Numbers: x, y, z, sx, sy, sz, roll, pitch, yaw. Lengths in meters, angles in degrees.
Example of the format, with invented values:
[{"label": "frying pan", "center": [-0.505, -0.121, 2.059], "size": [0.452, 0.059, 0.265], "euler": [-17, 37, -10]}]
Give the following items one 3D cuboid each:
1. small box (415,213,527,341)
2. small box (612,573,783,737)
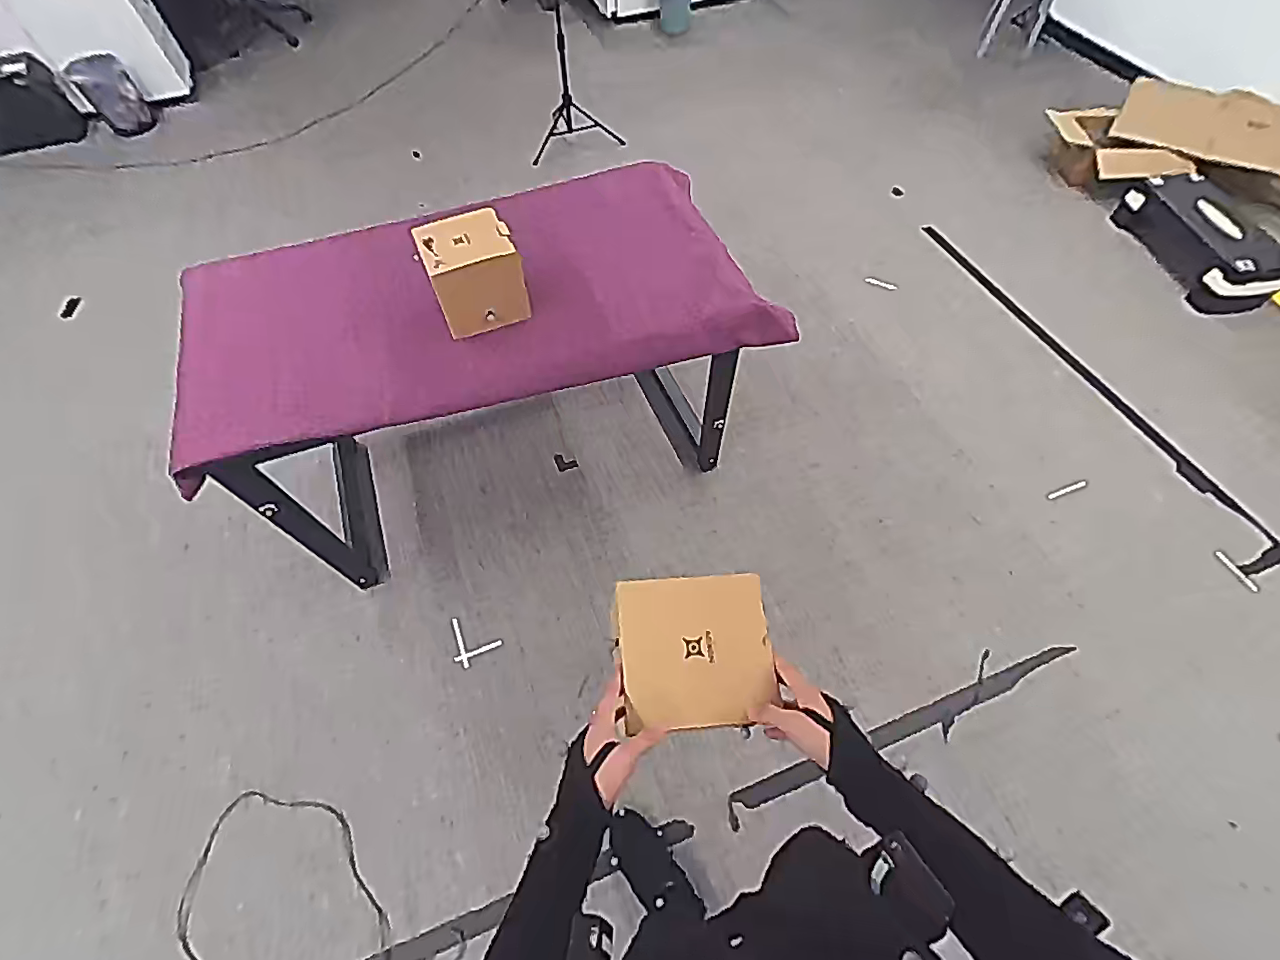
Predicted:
[{"label": "small box", "center": [-0.348, -0.425, 1.142], "size": [0.179, 0.176, 0.168], "euler": [-21, 60, -12]}, {"label": "small box", "center": [0.056, 0.224, 0.677], "size": [0.179, 0.176, 0.168], "euler": [-2, 64, -8]}]
